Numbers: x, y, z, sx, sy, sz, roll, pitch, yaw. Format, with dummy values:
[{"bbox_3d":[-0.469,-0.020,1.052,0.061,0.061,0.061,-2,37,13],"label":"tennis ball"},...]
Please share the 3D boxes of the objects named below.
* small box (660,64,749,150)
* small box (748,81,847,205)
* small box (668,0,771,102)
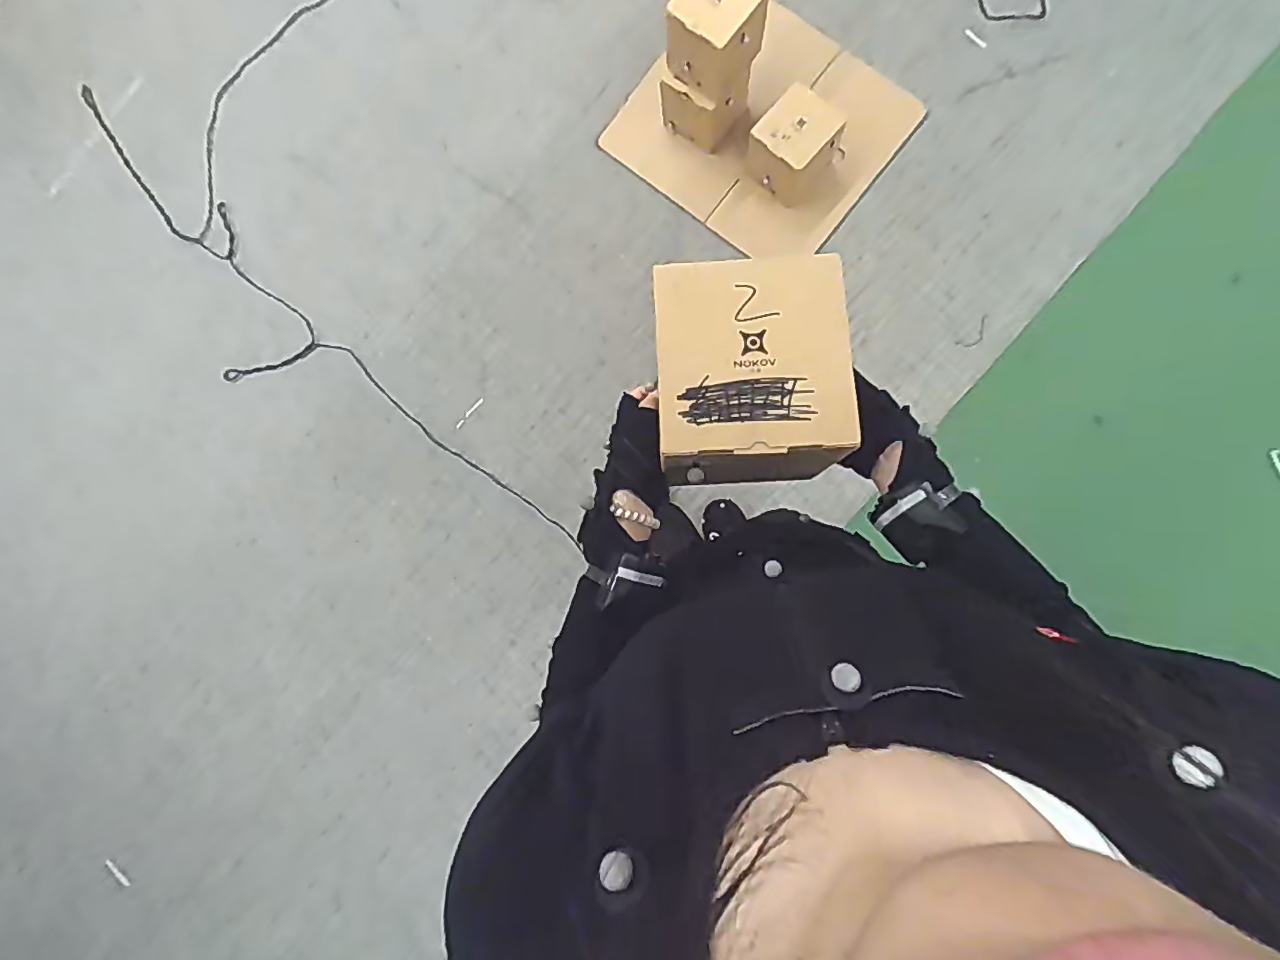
[{"bbox_3d":[0.174,-1.031,1.435,0.168,0.176,0.179,37,91,6],"label":"small box"},{"bbox_3d":[0.400,-0.869,1.410,0.168,0.176,0.179,43,93,6],"label":"small box"},{"bbox_3d":[0.180,-1.056,1.272,0.168,0.176,0.179,39,92,5],"label":"small box"}]
